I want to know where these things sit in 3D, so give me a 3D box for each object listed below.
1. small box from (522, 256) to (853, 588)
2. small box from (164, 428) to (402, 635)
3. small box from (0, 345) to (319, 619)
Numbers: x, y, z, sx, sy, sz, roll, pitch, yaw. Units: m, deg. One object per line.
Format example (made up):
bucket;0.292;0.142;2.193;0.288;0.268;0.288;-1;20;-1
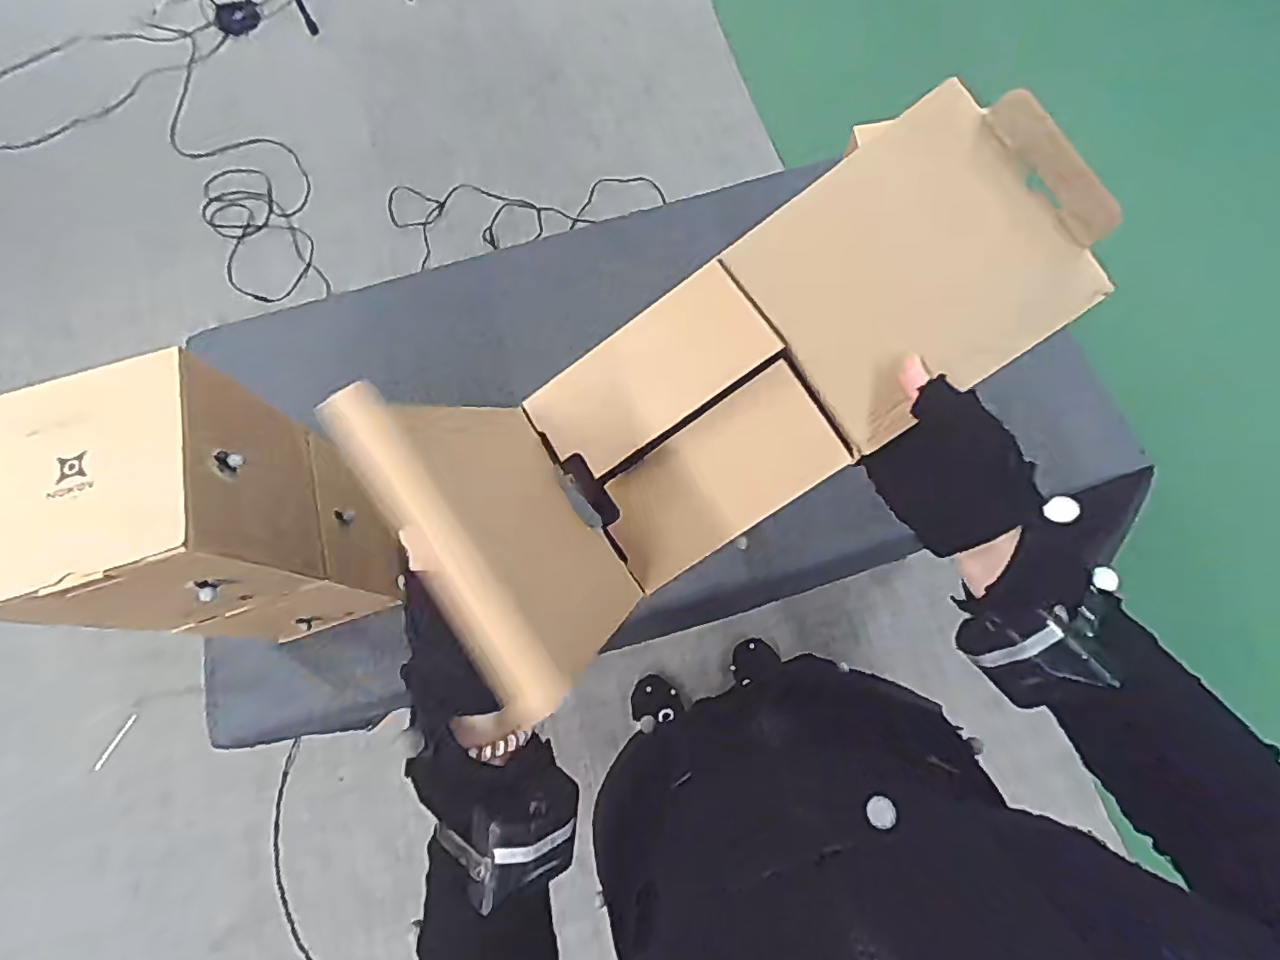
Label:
small box;0.043;-0.040;0.446;0.179;0.176;0.168;-35;87;11
small box;-0.404;0.069;0.631;0.168;0.176;0.179;-18;72;-3
small box;-0.413;0.017;0.476;0.168;0.176;0.179;-16;71;-3
